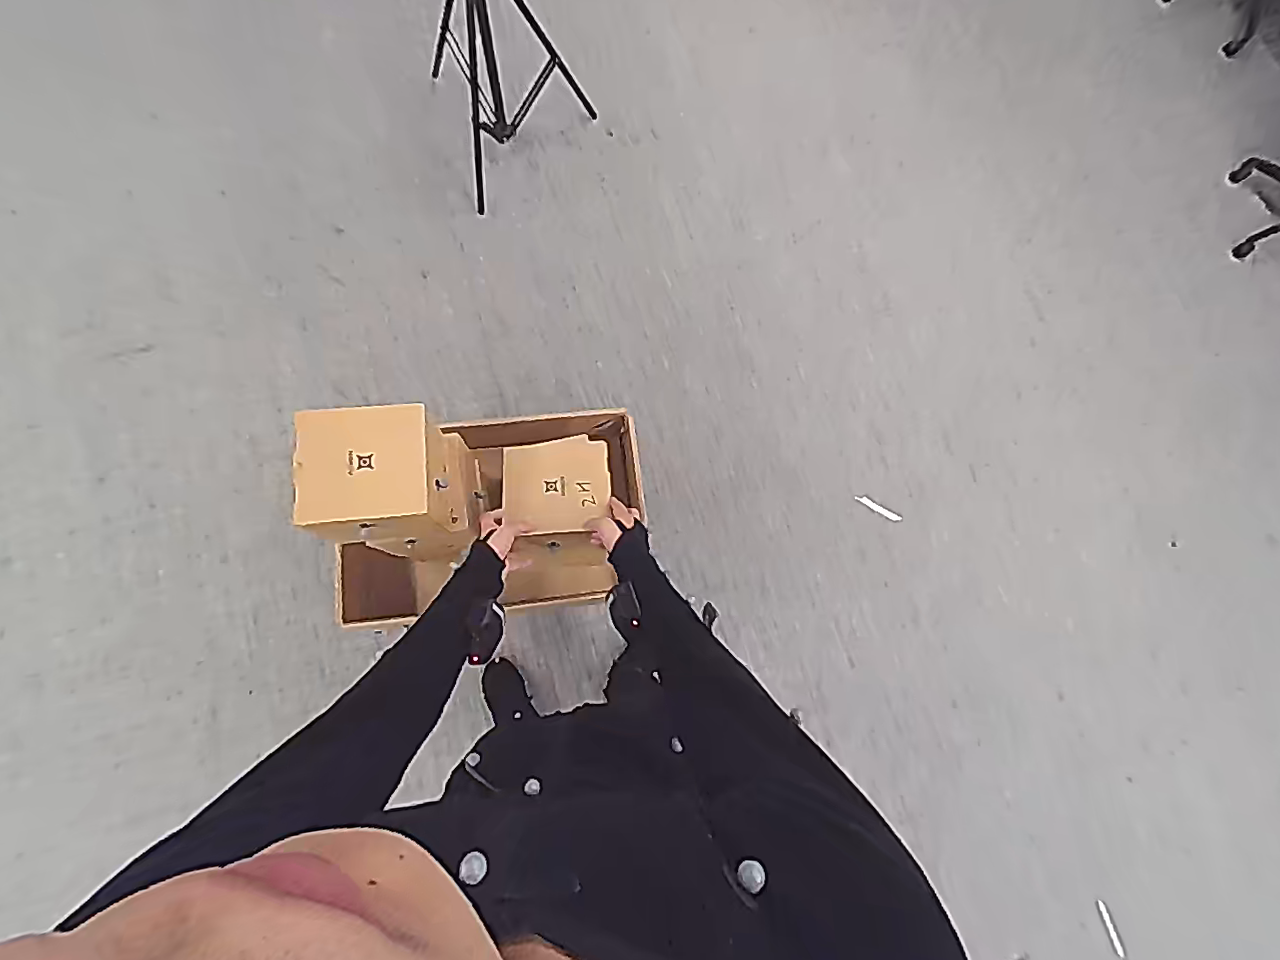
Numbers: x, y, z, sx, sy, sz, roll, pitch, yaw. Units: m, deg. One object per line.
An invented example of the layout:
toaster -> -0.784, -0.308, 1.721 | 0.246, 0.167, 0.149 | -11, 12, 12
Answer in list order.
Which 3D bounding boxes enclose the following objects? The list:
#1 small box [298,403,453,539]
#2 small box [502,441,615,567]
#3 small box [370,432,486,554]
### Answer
small box -> -0.389, -0.008, 0.825 | 0.179, 0.176, 0.168 | -6, 77, -8
small box -> -0.134, 0.047, 0.939 | 0.179, 0.176, 0.168 | -2, 63, -4
small box -> -0.384, 0.028, 0.986 | 0.168, 0.176, 0.179 | -8, 77, -9
